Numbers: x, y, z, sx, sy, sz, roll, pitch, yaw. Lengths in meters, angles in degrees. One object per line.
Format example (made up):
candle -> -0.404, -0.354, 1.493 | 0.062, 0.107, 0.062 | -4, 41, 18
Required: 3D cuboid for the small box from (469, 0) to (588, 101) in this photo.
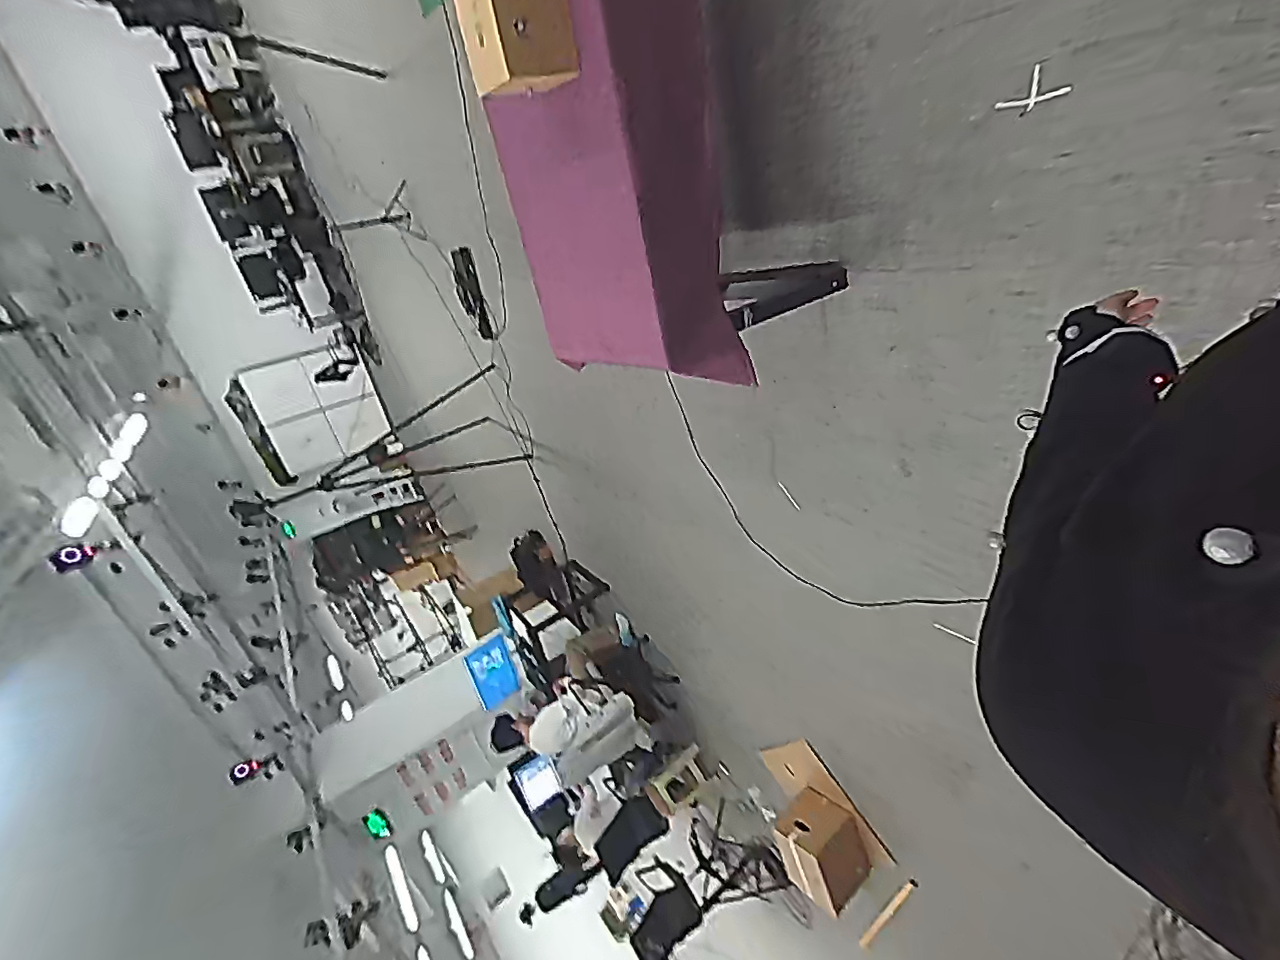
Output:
small box -> -0.224, -0.910, 1.119 | 0.168, 0.176, 0.179 | 28, 136, 48
